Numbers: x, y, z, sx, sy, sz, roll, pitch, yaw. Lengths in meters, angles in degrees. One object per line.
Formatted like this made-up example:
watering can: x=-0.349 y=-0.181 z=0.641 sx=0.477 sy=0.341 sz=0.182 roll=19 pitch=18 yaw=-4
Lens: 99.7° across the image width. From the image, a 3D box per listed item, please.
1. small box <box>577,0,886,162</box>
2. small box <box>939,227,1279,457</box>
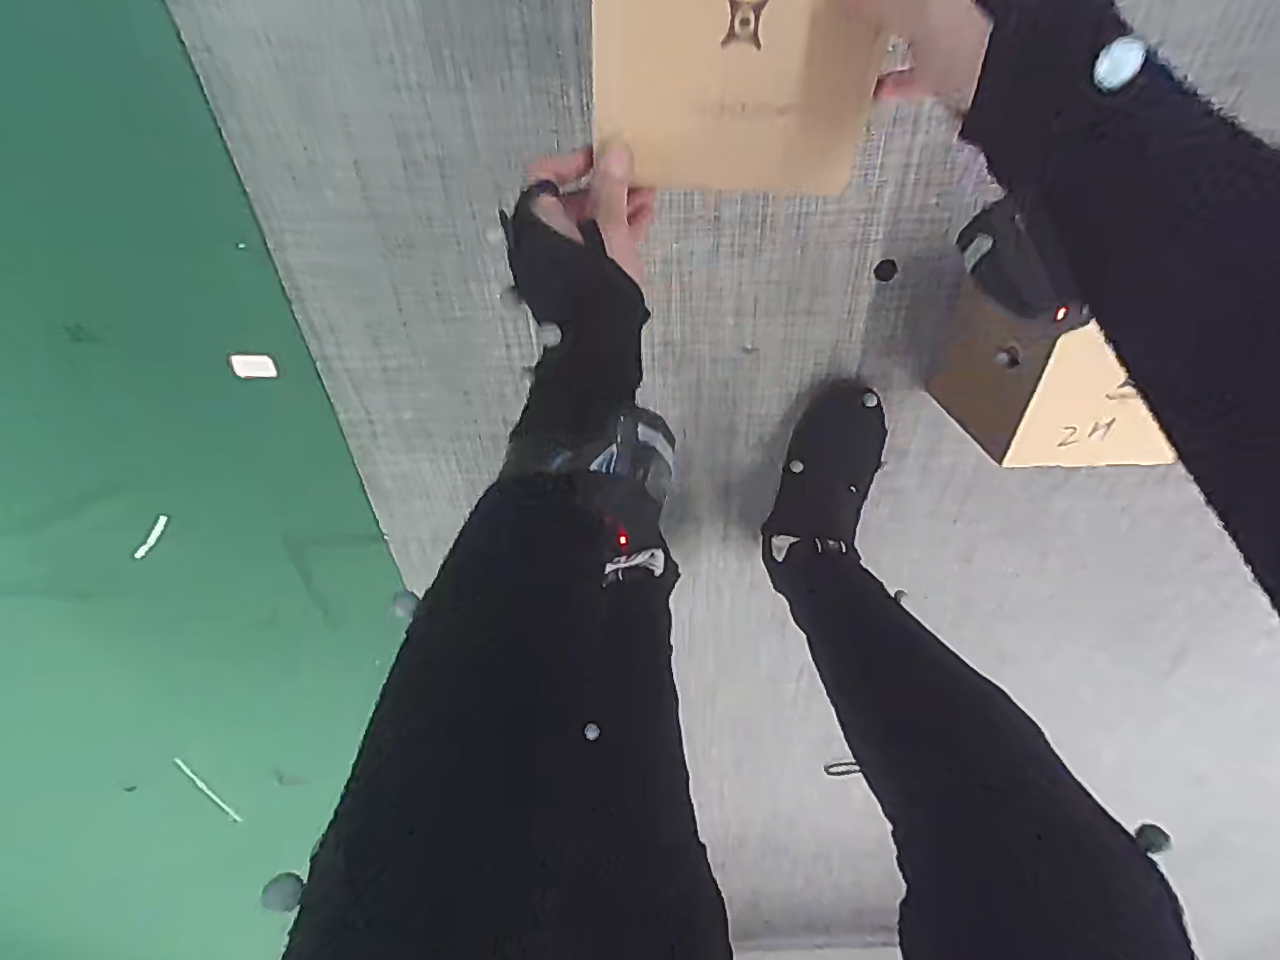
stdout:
small box: x=0.046 y=-0.318 z=0.330 sx=0.168 sy=0.176 sz=0.179 roll=1 pitch=135 yaw=-4
small box: x=0.424 y=-0.140 z=0.525 sx=0.168 sy=0.176 sz=0.179 roll=-1 pitch=126 yaw=1
